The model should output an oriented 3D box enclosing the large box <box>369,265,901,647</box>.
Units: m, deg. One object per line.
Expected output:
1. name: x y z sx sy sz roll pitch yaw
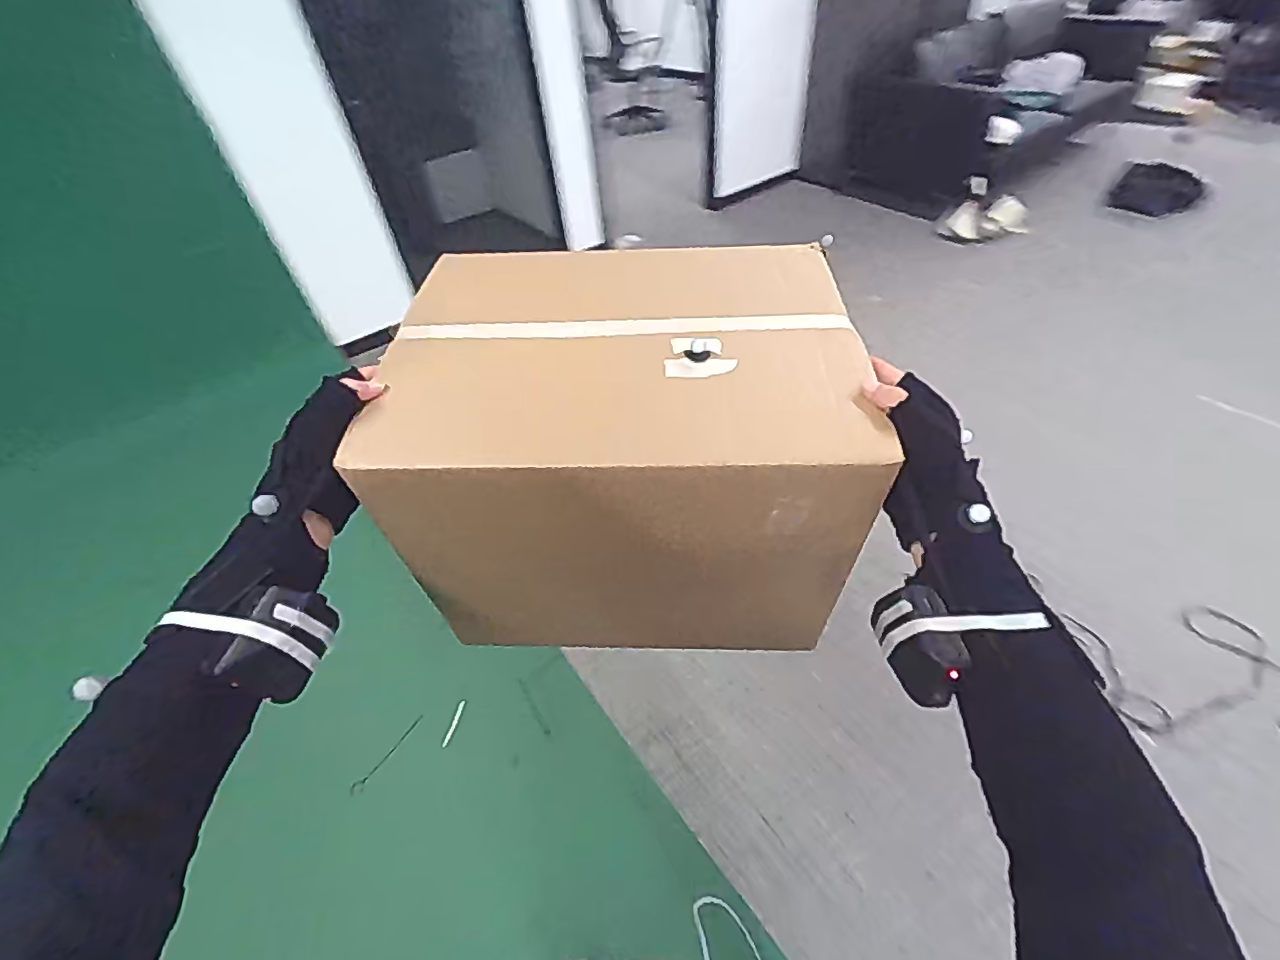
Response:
1. large box: 0.000 -0.022 0.605 0.408 0.320 0.320 1 50 3
